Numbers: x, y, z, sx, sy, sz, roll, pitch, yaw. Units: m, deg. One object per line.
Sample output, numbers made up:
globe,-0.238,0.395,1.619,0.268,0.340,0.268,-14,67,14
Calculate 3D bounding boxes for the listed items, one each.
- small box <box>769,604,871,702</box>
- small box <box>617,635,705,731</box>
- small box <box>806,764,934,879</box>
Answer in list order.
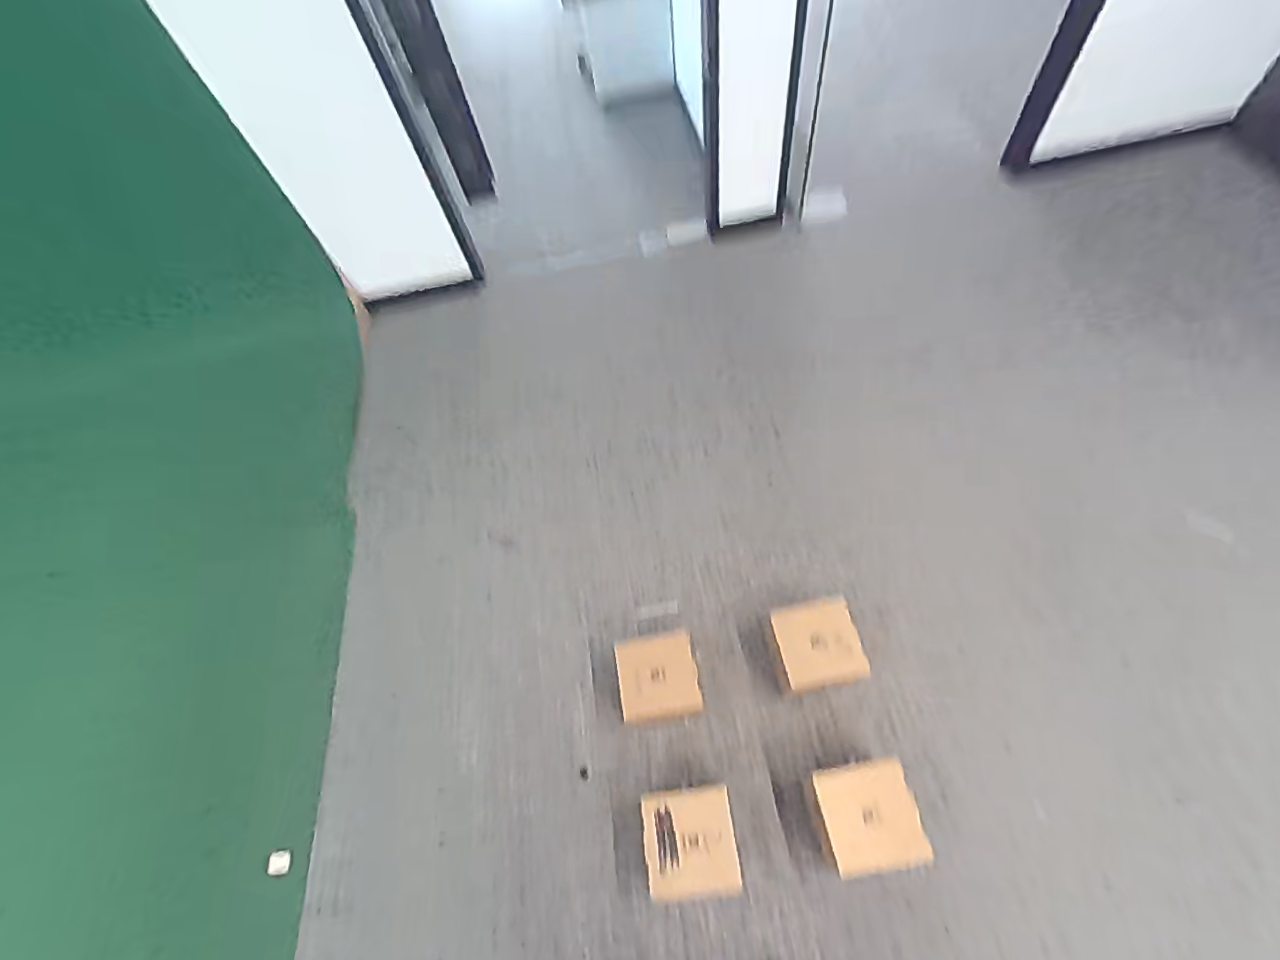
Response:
small box,0.402,0.403,1.246,0.179,0.176,0.168,-11,59,1
small box,0.051,0.474,1.254,0.179,0.176,0.168,-11,58,2
small box,0.443,0.678,1.079,0.179,0.176,0.168,-11,58,0
